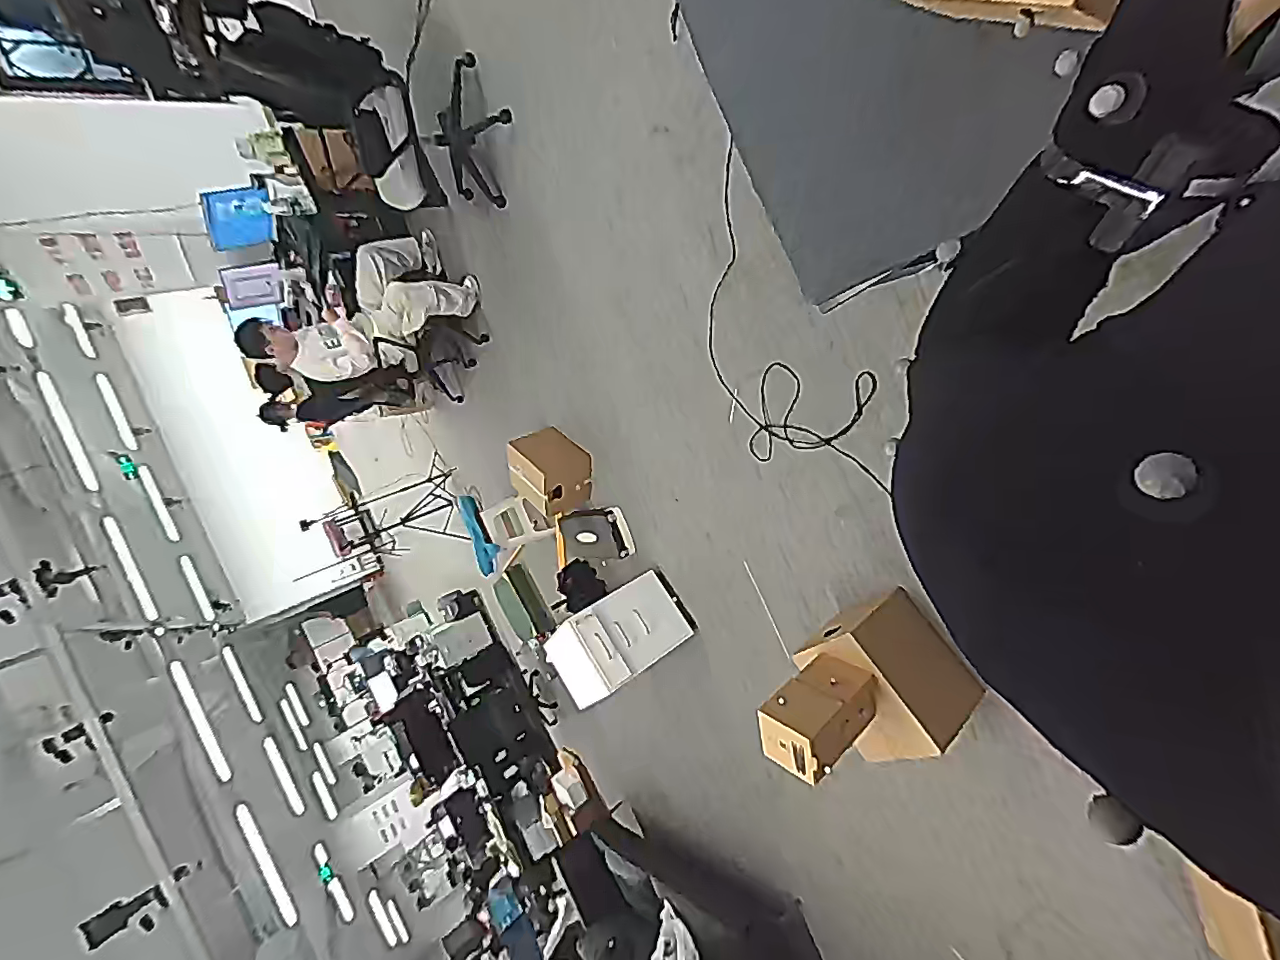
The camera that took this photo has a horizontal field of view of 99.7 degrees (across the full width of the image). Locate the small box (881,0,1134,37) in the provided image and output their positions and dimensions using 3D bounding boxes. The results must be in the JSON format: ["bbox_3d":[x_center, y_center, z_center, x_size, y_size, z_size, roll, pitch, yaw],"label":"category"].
[{"bbox_3d":[0.353,-0.502,0.465,0.179,0.176,0.168,41,138,33],"label":"small box"}]

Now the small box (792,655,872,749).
[{"bbox_3d":[0.587,0.662,1.639,0.179,0.176,0.168,11,118,48],"label":"small box"}]
